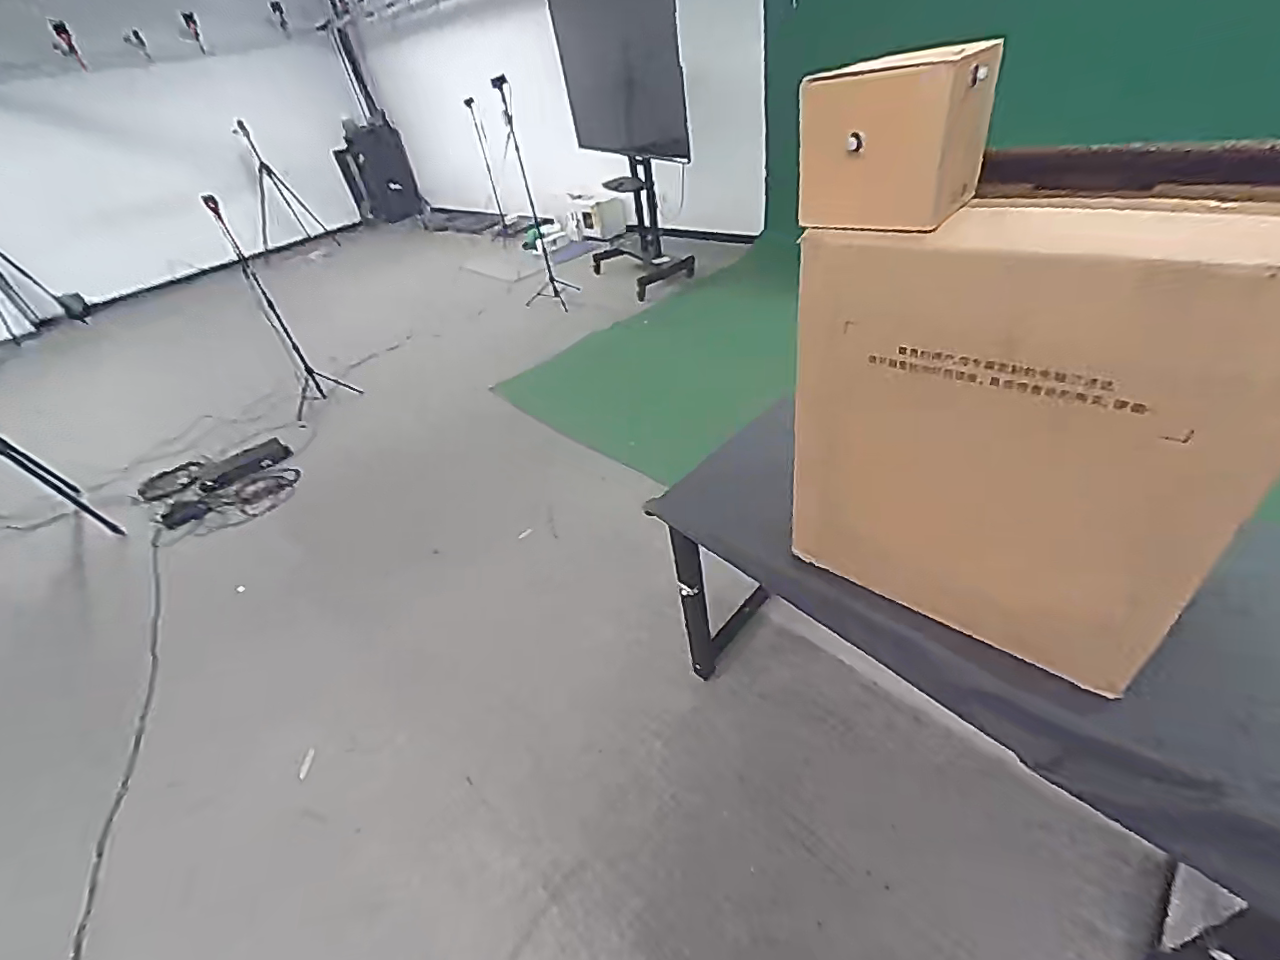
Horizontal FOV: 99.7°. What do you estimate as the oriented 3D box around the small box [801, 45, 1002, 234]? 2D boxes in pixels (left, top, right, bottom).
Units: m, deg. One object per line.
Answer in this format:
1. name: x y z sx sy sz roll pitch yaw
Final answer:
1. small box: 0.324 -0.425 0.692 0.179 0.176 0.168 22 50 38
